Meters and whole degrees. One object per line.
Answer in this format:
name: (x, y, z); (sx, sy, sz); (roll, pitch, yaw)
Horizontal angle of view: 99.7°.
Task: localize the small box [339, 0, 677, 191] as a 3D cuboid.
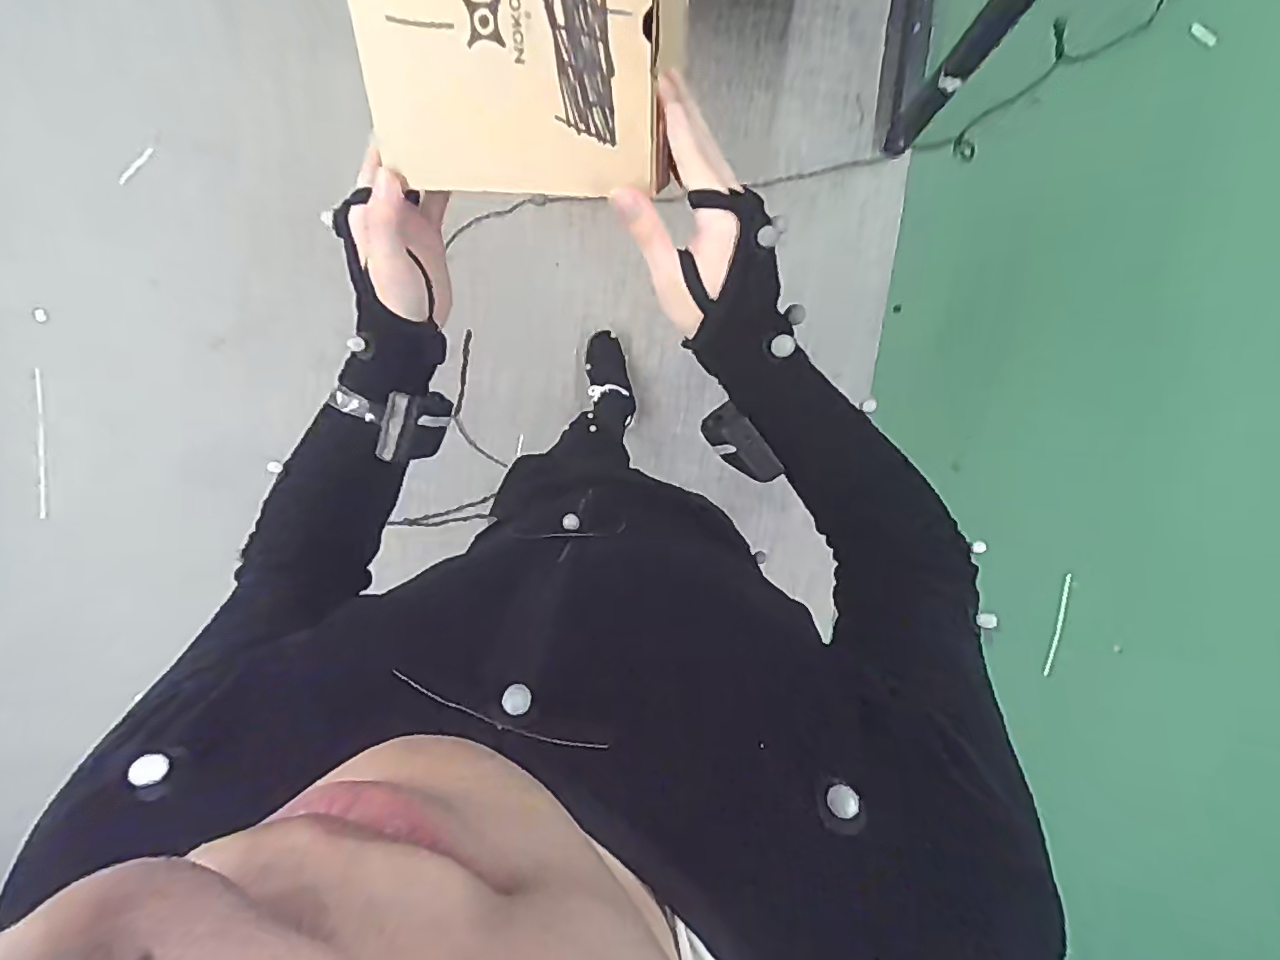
small box: (-0.068, -0.297, 0.354); (0.179, 0.176, 0.168); (6, 125, 7)
